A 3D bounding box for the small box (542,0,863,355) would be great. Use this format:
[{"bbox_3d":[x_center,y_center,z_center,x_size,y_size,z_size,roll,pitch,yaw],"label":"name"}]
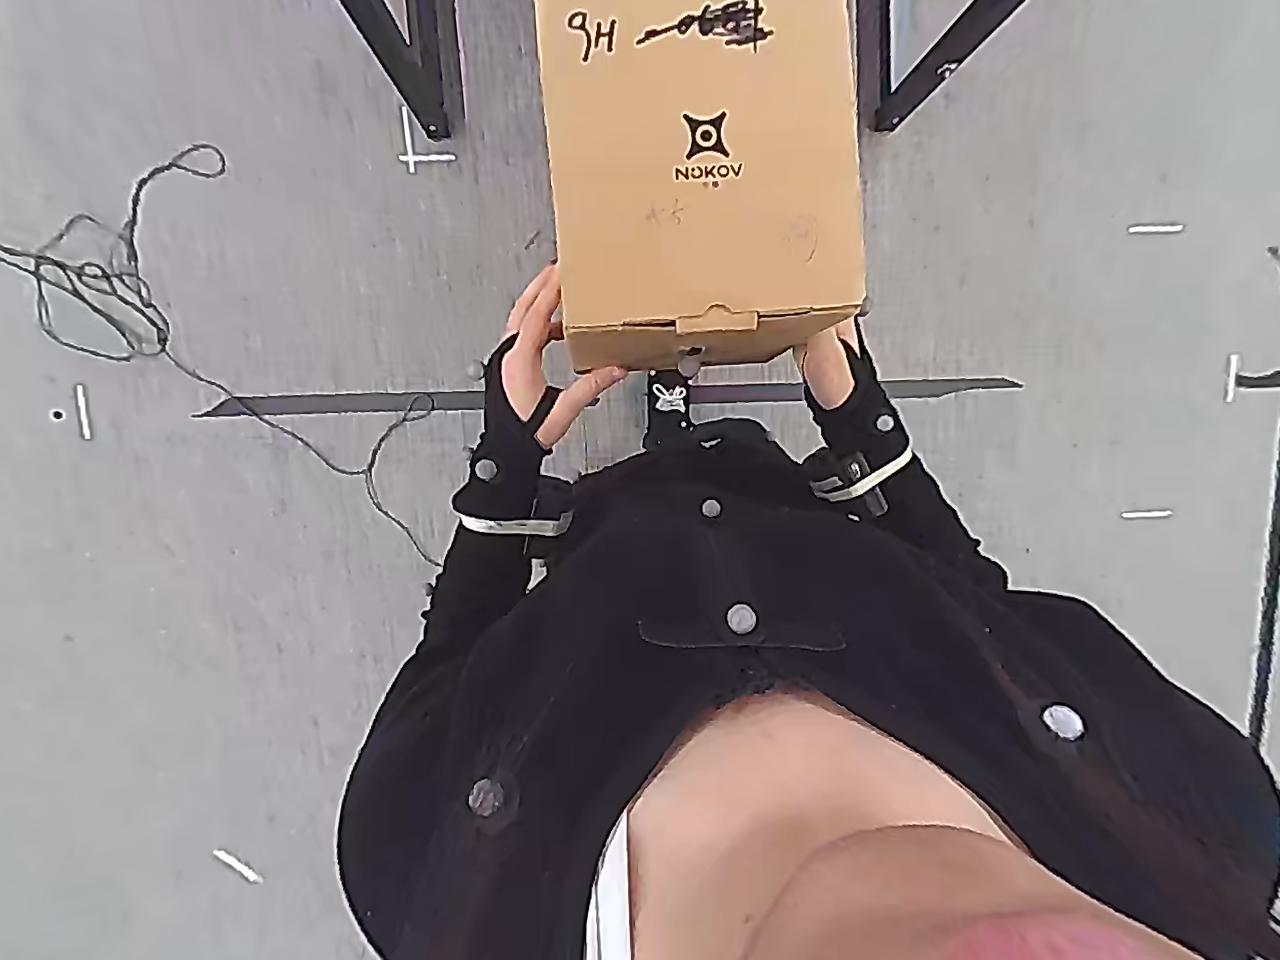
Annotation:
[{"bbox_3d":[0.031,-0.183,0.363,0.168,0.176,0.179,-4,94,-4],"label":"small box"}]
